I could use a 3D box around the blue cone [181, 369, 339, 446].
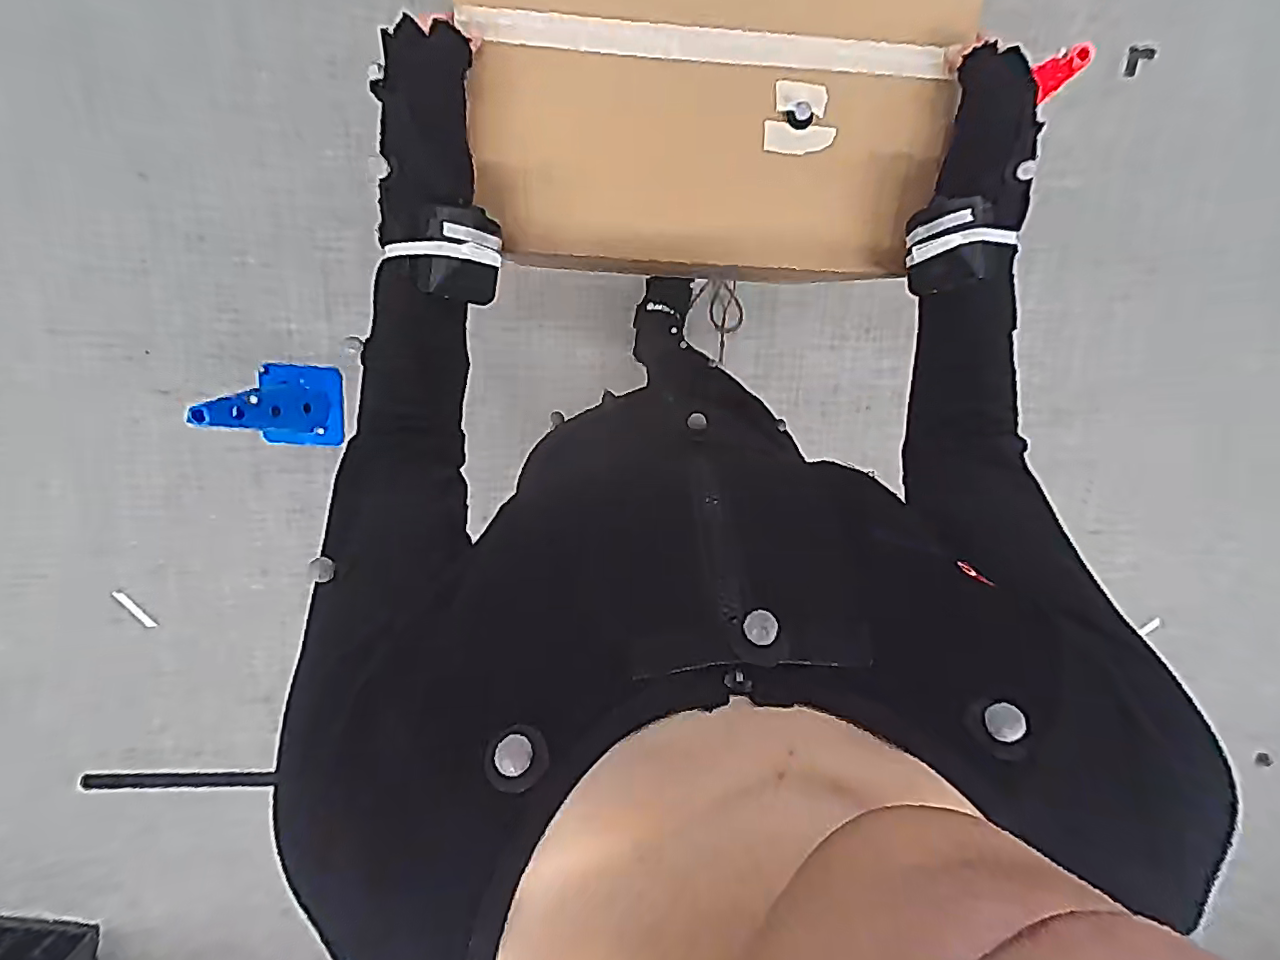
[{"bbox_3d":[-0.853,-0.151,1.210,0.192,0.380,0.193,5,100,-3],"label":"blue cone"}]

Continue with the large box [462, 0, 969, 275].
[{"bbox_3d":[0.049,-0.394,0.567,0.408,0.320,0.320,1,109,-5],"label":"large box"}]
